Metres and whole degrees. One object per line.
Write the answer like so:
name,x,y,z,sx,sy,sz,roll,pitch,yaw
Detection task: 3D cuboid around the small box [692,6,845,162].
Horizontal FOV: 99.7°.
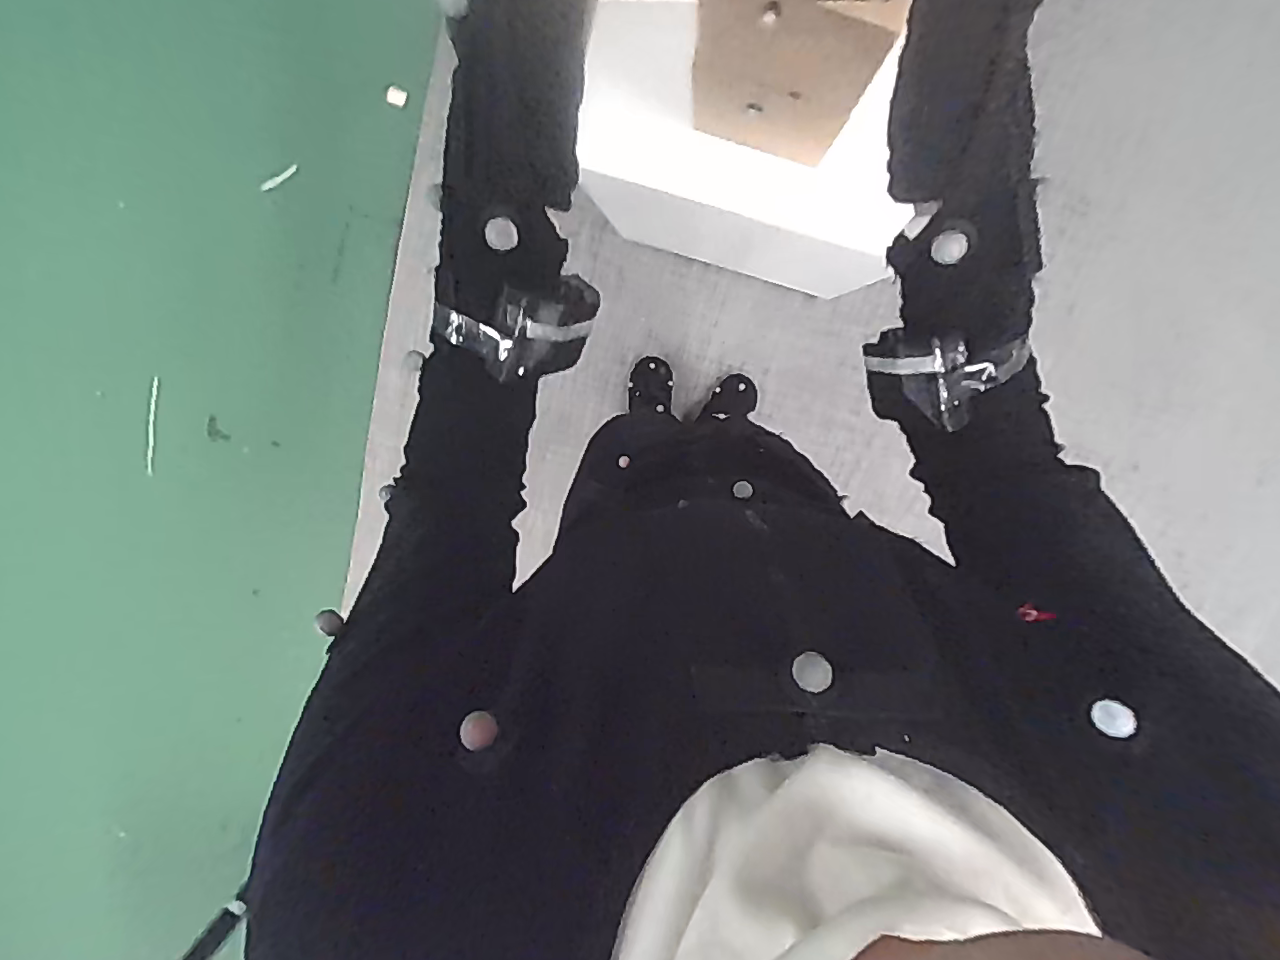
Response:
small box,0.170,-0.497,0.620,0.179,0.176,0.168,20,105,2

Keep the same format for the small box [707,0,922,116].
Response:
small box,0.159,-0.459,0.464,0.168,0.176,0.179,18,106,1
